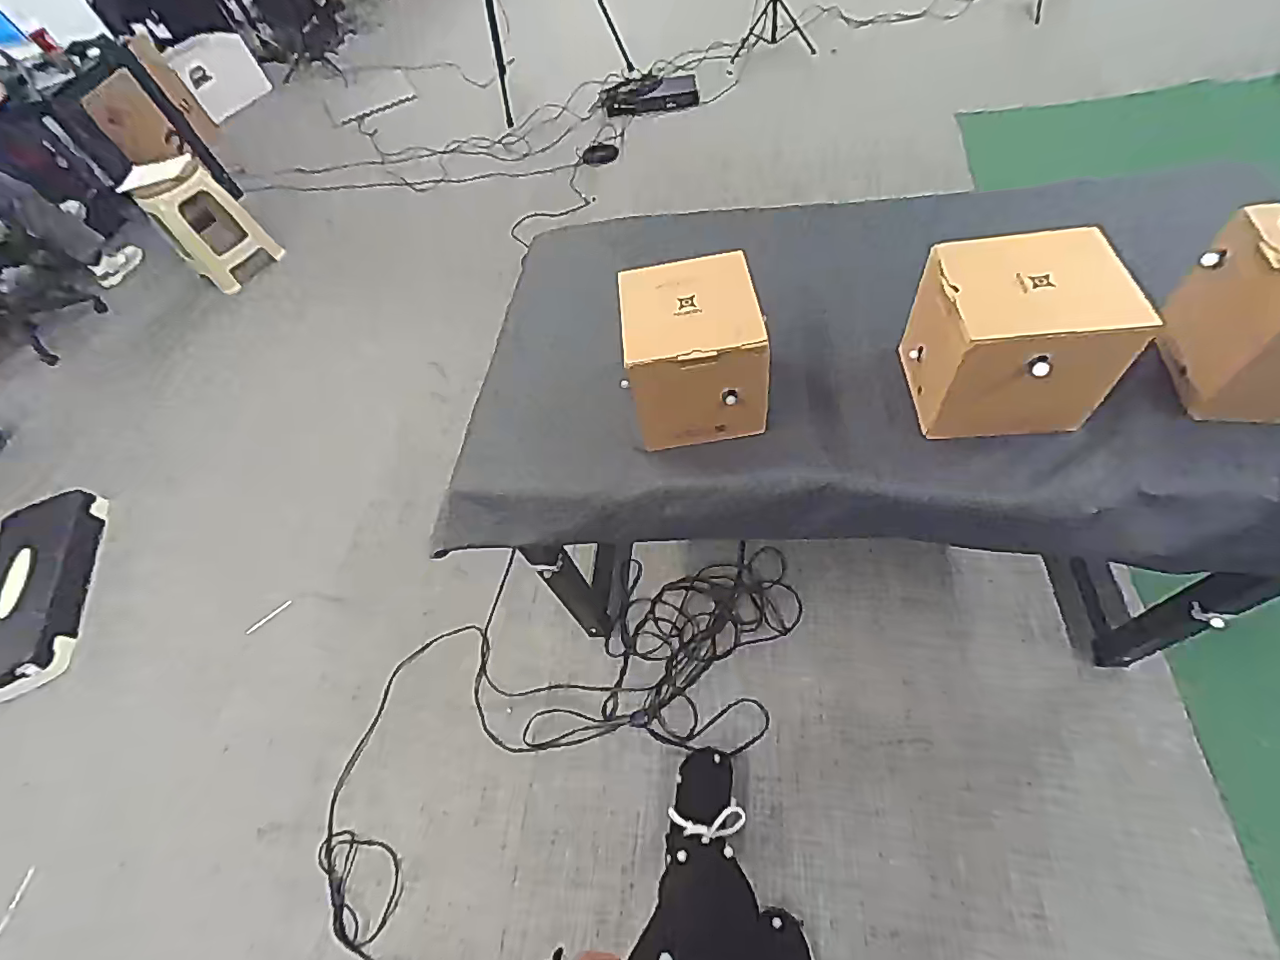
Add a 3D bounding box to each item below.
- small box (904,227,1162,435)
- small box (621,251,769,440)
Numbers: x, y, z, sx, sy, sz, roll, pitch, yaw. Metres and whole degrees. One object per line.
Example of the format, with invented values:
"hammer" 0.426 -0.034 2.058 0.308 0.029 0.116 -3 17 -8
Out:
"small box" 0.440 -0.169 0.645 0.179 0.176 0.168 -3 56 10
"small box" 0.072 -0.167 0.717 0.168 0.176 0.179 -8 54 4
